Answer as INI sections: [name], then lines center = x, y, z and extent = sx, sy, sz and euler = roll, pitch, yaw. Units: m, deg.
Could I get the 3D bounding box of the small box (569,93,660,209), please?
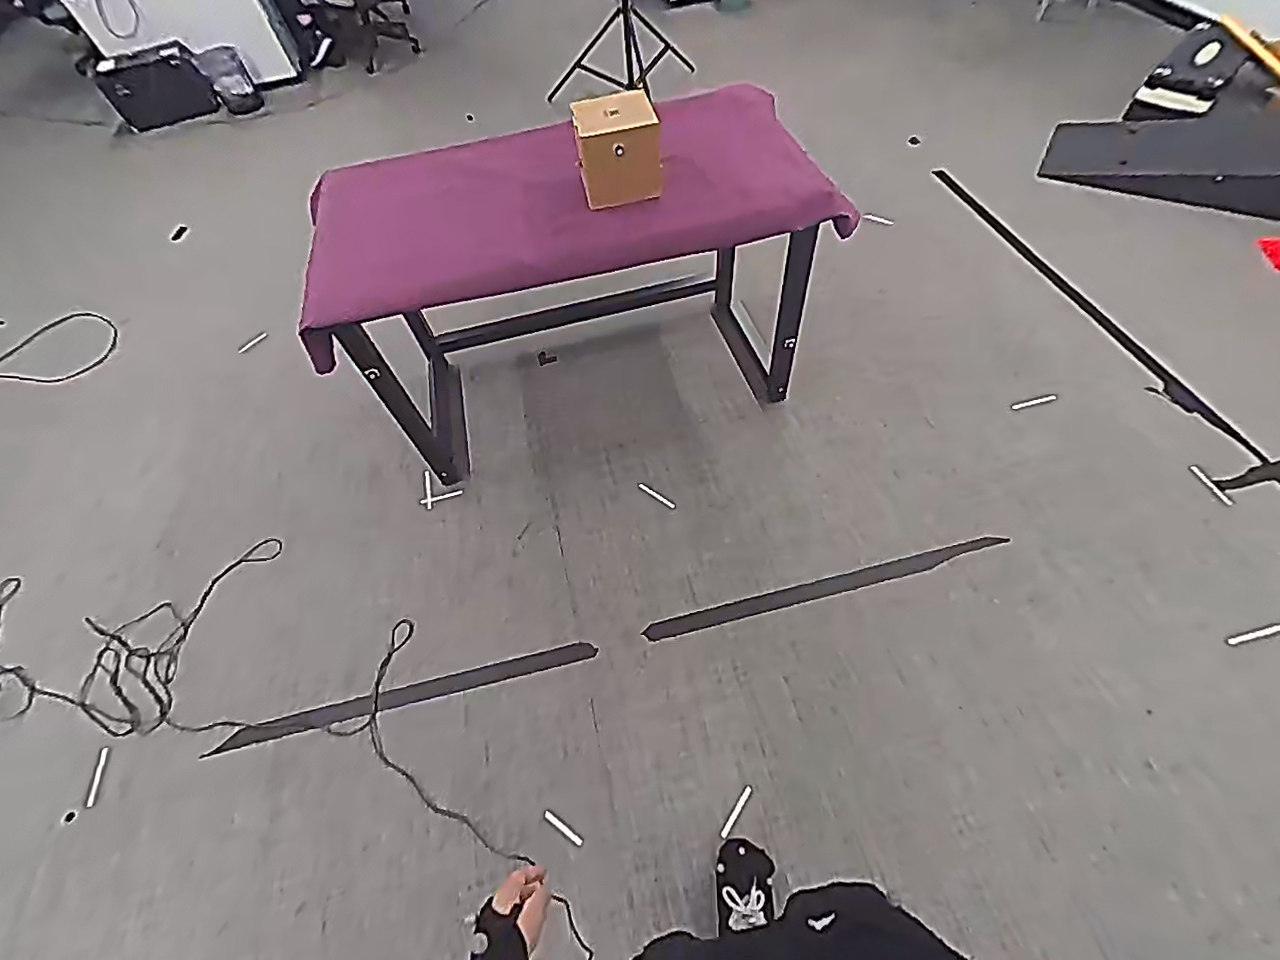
[small box]
center = -0.056, -0.760, 1.261
extent = 0.179, 0.176, 0.168
euler = -12, 58, -3
